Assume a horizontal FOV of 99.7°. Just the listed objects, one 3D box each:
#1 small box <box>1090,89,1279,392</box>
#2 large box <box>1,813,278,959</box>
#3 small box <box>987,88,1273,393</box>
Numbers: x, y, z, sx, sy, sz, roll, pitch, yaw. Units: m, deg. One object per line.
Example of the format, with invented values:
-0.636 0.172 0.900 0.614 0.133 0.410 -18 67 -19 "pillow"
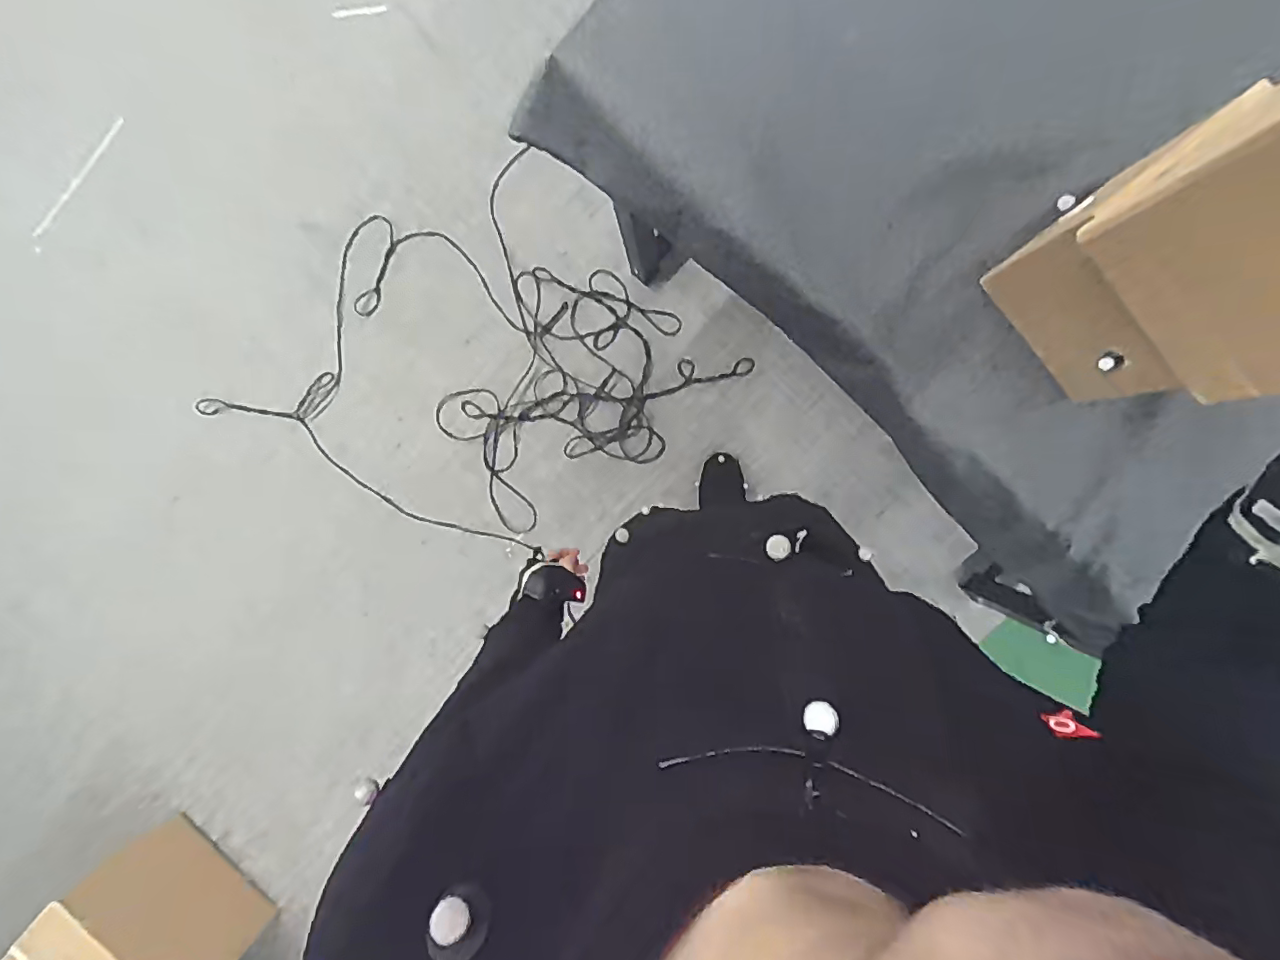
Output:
0.462 -0.177 0.351 0.168 0.176 0.179 -37 90 3 "small box"
-1.250 1.171 1.366 0.408 0.320 0.320 43 94 3 "large box"
0.488 -0.198 0.512 0.168 0.176 0.179 -38 88 4 "small box"
